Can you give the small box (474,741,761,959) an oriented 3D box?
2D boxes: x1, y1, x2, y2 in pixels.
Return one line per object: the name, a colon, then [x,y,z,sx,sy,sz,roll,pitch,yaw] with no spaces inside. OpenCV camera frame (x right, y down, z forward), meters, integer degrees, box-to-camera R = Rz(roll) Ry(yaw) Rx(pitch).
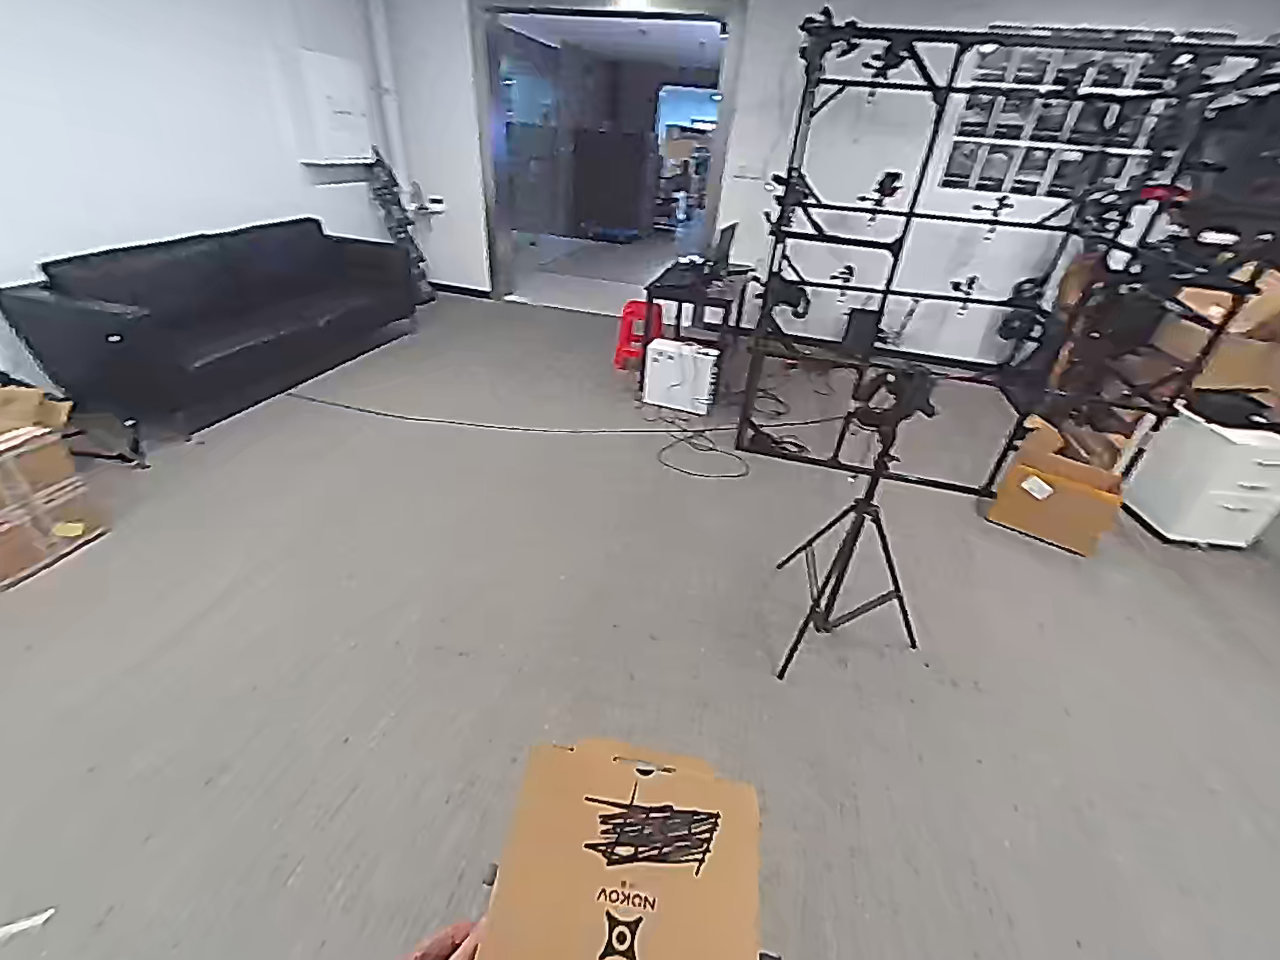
small box: [-0.021,0.312,0.376,0.168,0.176,0.179,11,48,-2]
